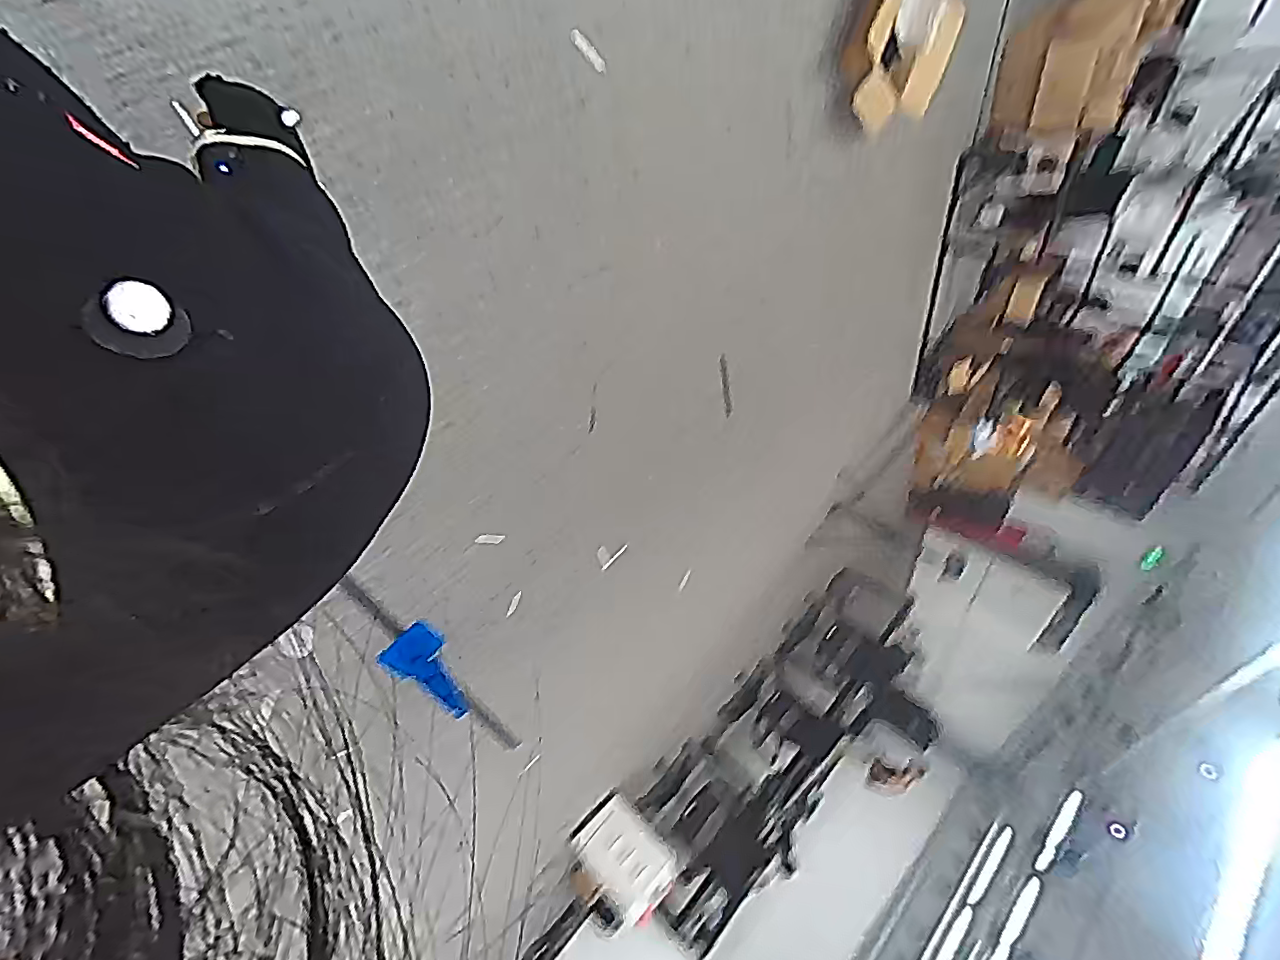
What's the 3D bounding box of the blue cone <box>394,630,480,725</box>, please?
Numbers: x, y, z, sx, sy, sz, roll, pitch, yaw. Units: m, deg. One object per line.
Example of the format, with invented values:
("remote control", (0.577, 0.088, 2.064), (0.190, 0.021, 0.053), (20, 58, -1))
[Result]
("blue cone", (-0.675, 0.720, 1.912), (0.192, 0.380, 0.193), (-46, 143, -19))
